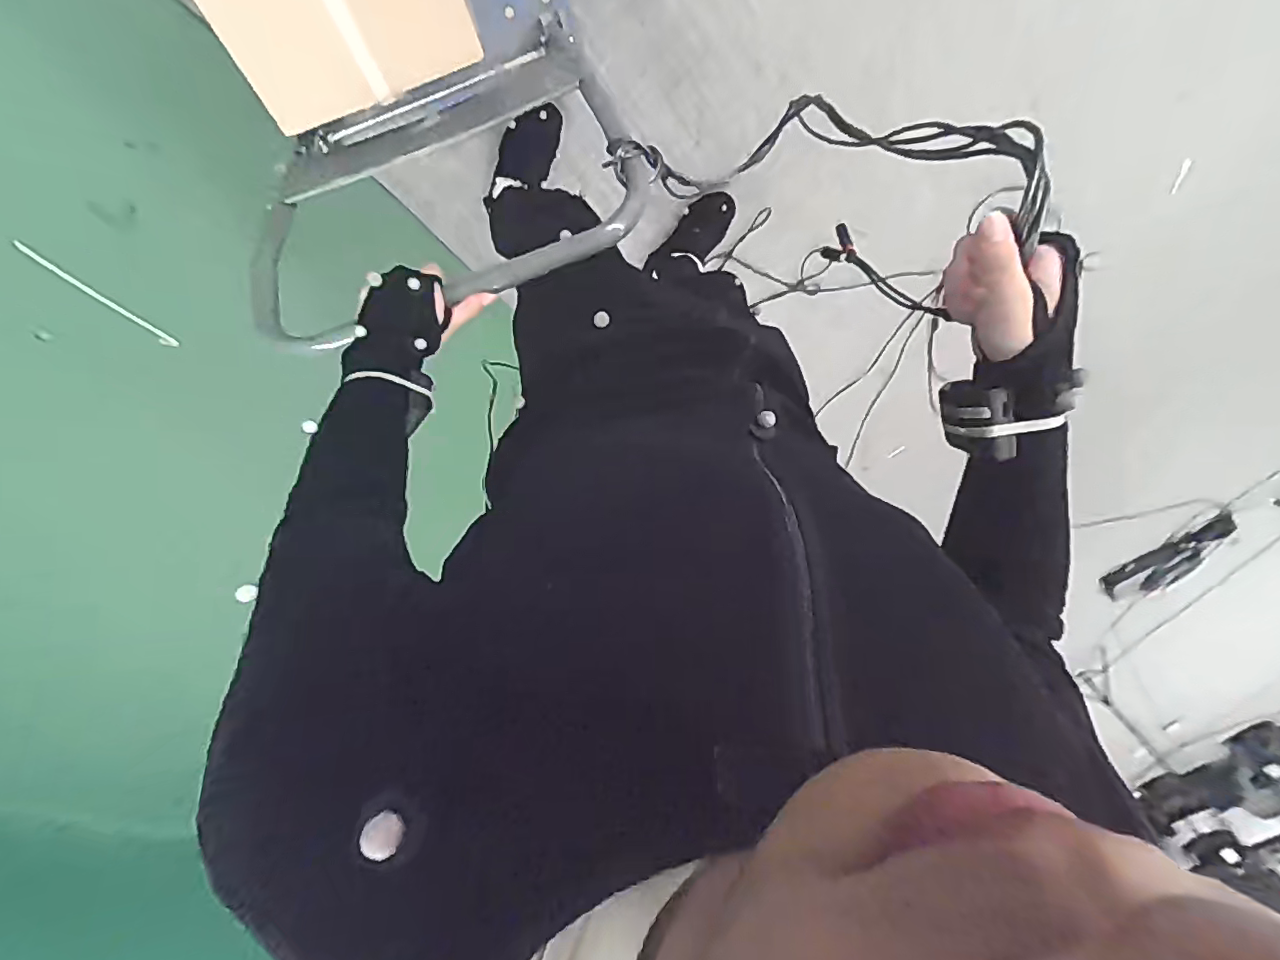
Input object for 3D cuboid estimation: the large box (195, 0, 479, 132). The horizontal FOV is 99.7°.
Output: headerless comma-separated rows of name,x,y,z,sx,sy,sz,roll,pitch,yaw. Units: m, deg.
large box,-0.453,-0.779,0.734,0.320,0.320,0.408,-21,136,2
